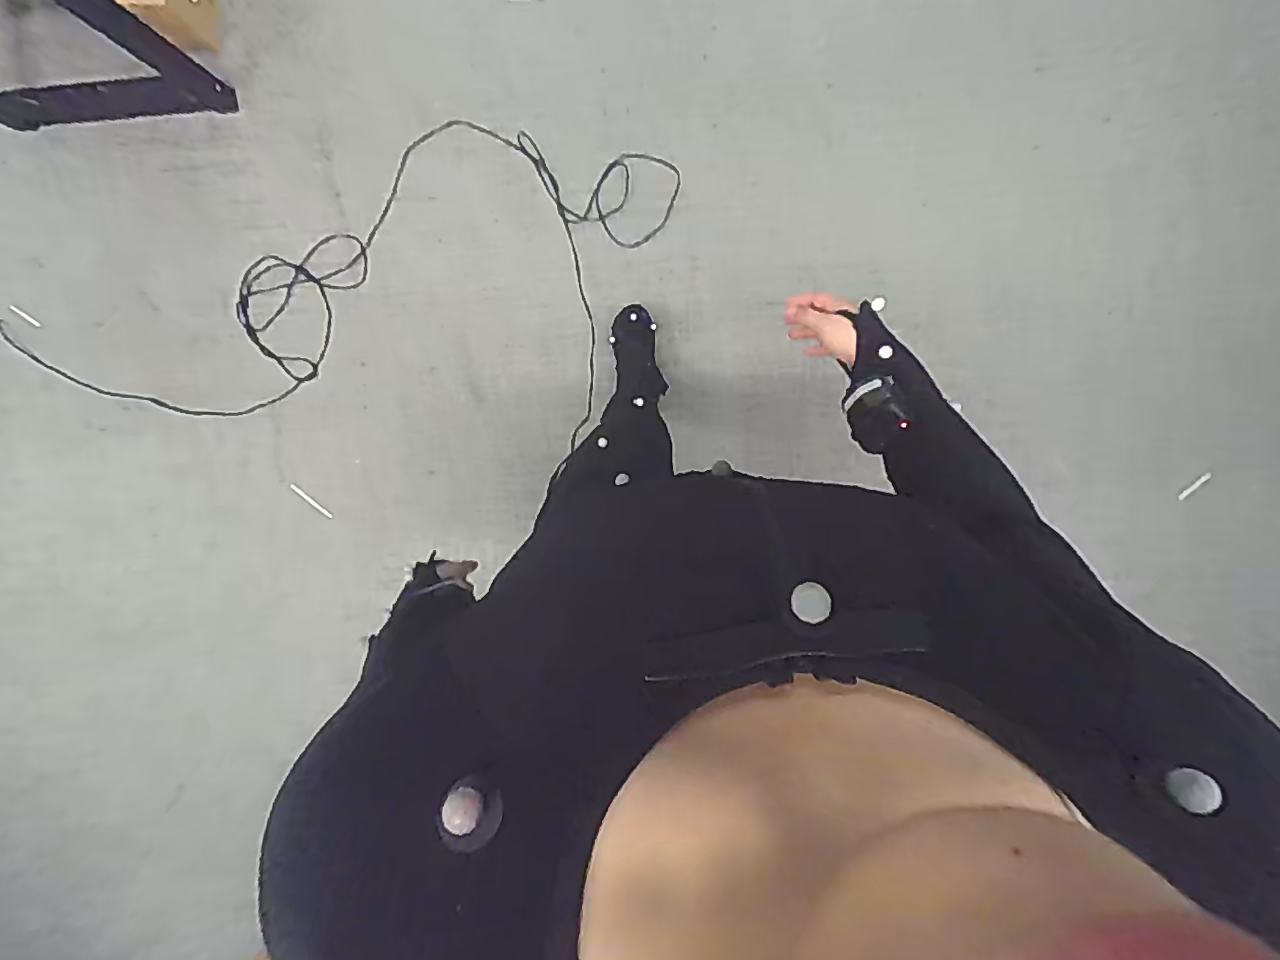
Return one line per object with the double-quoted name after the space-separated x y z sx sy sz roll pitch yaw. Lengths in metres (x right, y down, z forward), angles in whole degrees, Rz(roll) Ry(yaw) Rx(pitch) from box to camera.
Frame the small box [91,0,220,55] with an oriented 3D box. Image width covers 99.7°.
-1.115 -1.125 1.252 0.179 0.176 0.168 1 98 1 "small box"
